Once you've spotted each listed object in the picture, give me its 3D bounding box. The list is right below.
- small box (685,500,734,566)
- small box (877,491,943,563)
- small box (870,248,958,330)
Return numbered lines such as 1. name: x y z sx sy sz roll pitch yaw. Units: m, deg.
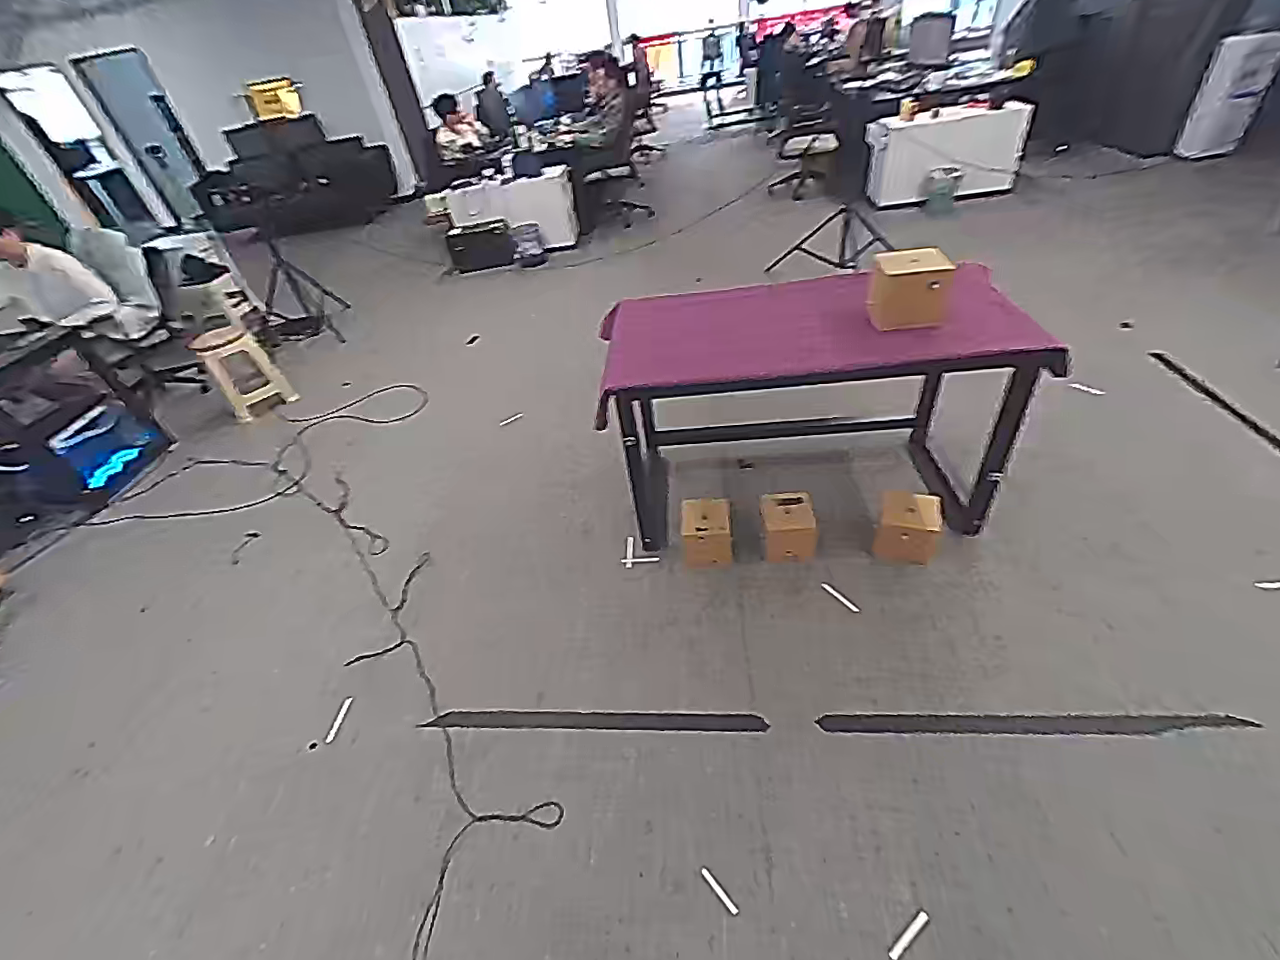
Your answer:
1. small box: 0.251 0.190 1.947 0.168 0.176 0.179 -3 40 9
2. small box: 0.915 0.161 1.837 0.179 0.176 0.168 7 44 21
3. small box: 0.781 -0.549 1.560 0.179 0.176 0.168 -3 40 10
